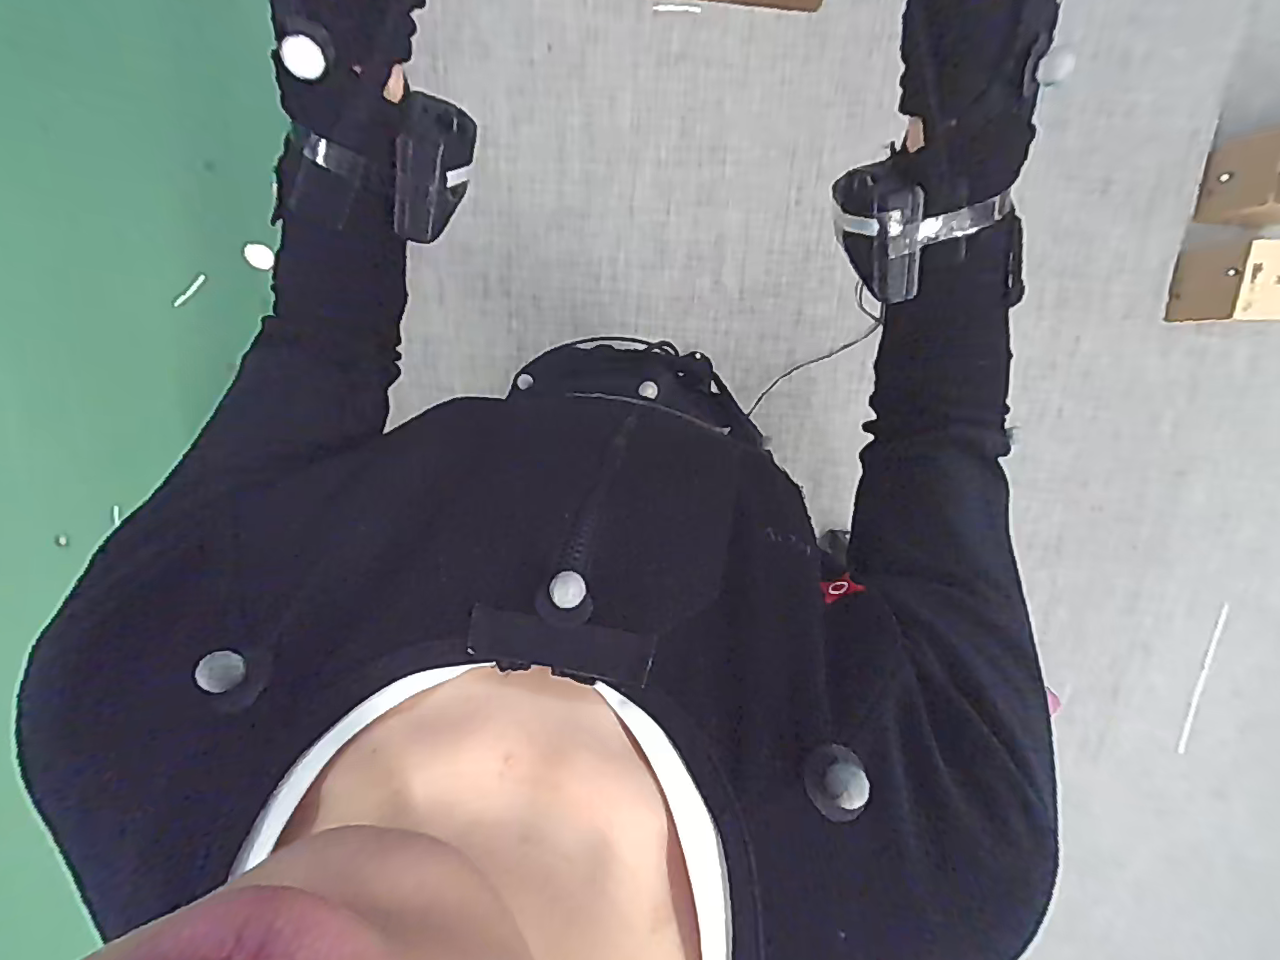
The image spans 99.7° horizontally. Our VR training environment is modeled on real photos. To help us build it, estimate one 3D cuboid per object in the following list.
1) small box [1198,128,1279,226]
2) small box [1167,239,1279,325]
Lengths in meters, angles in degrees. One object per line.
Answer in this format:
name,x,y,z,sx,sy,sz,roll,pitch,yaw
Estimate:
small box,1.407,-0.664,1.183,0.179,0.176,0.168,4,103,2
small box,1.385,-0.445,1.235,0.179,0.176,0.168,2,103,1
